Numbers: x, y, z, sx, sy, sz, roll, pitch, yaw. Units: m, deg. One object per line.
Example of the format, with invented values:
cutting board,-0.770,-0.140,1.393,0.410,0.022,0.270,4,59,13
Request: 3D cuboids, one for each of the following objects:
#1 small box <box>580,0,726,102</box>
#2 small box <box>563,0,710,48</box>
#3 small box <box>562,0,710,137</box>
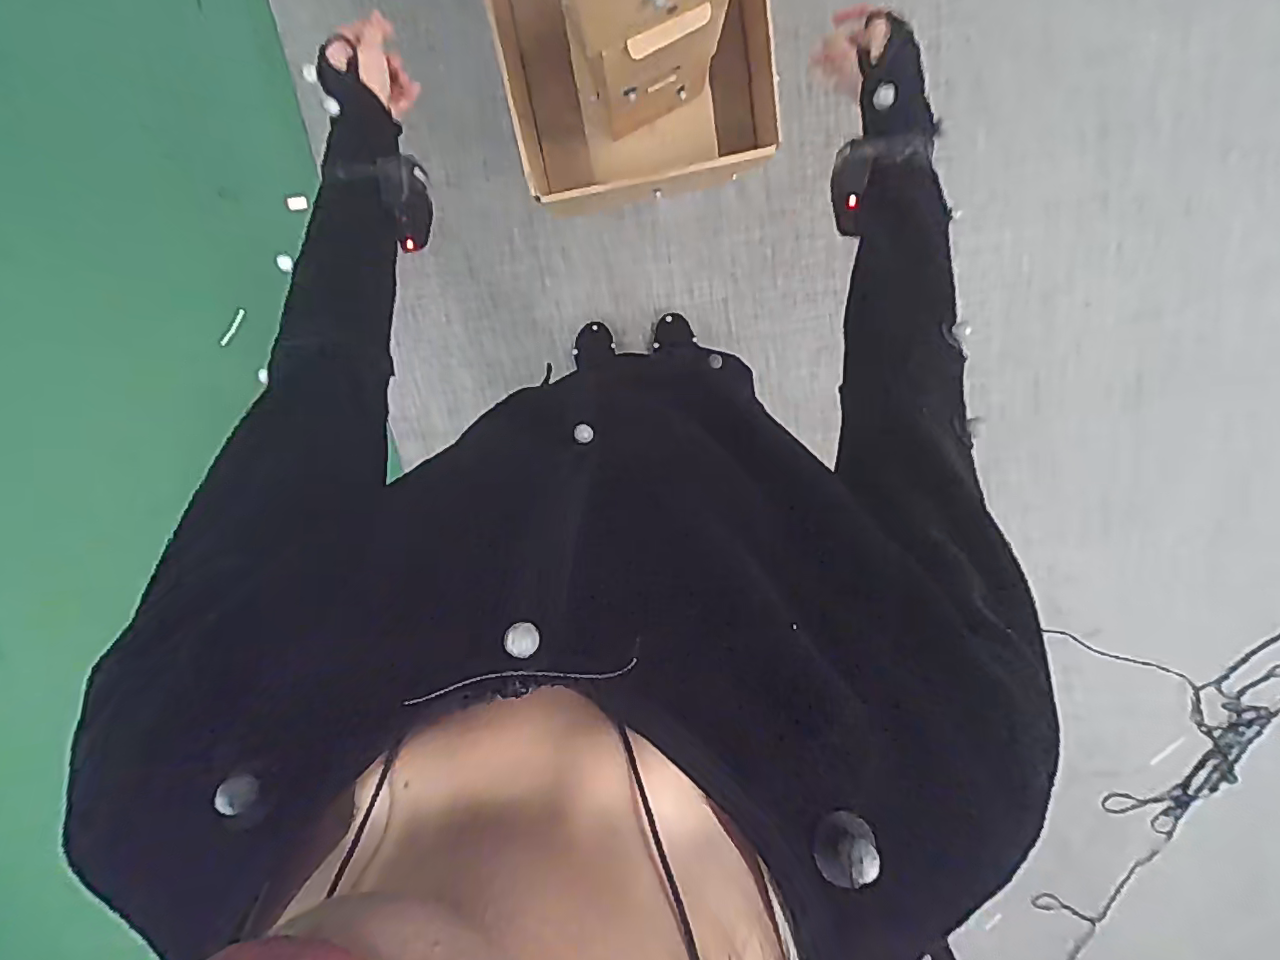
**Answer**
small box,-0.004,-0.613,0.674,0.168,0.176,0.179,-23,104,7
small box,-0.016,-0.563,0.518,0.168,0.176,0.179,-21,106,6
small box,-0.003,-0.662,0.831,0.168,0.176,0.179,-23,104,7
